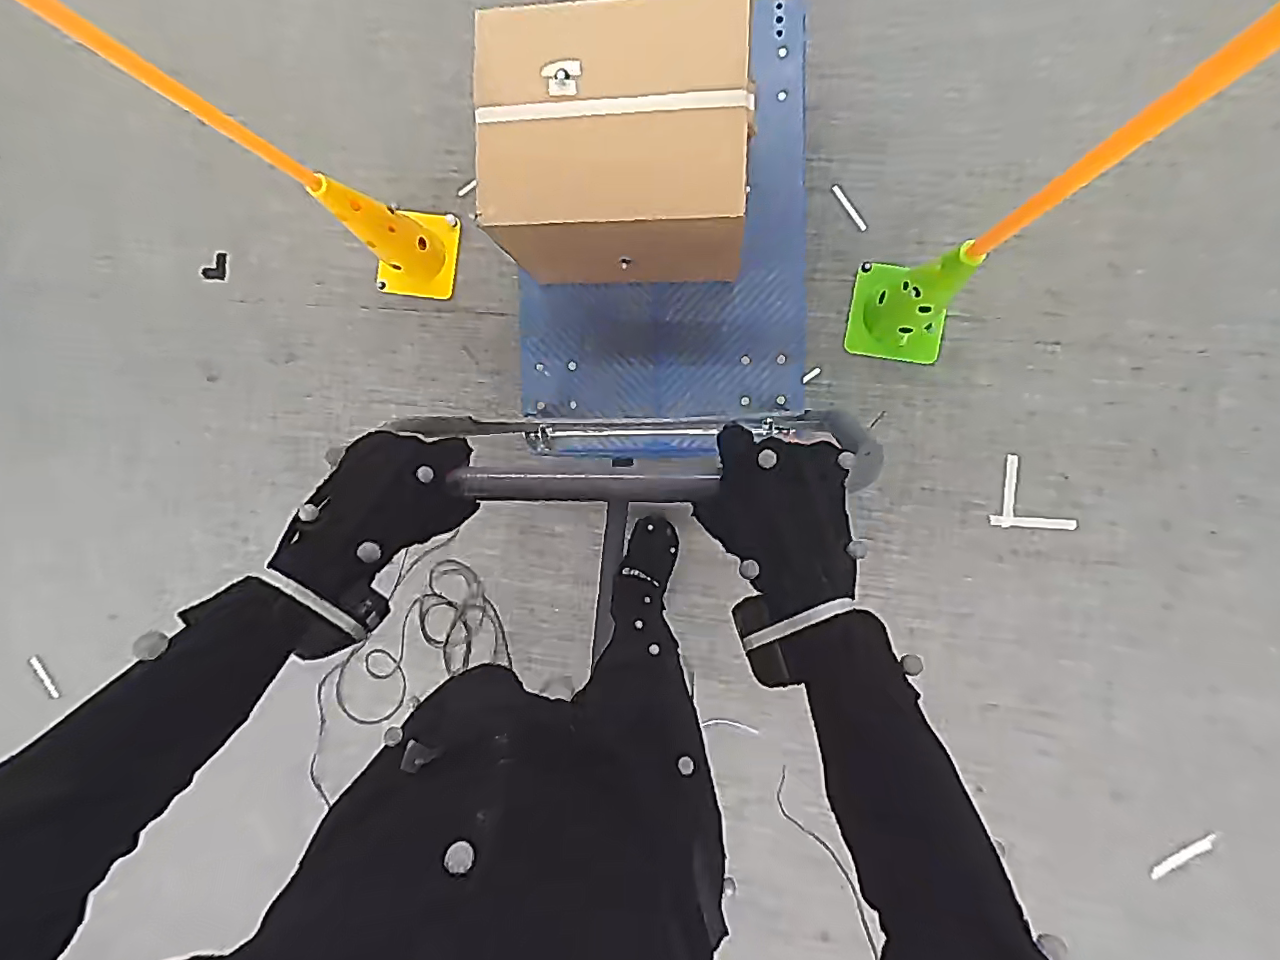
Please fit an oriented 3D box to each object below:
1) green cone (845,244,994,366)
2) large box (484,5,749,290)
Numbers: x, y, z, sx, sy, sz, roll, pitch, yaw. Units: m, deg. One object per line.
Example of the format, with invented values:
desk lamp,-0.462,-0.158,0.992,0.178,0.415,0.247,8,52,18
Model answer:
green cone,0.547,-0.353,1.020,0.202,0.368,0.200,10,94,6
large box,-0.019,-0.532,0.947,0.408,0.320,0.320,2,93,8
